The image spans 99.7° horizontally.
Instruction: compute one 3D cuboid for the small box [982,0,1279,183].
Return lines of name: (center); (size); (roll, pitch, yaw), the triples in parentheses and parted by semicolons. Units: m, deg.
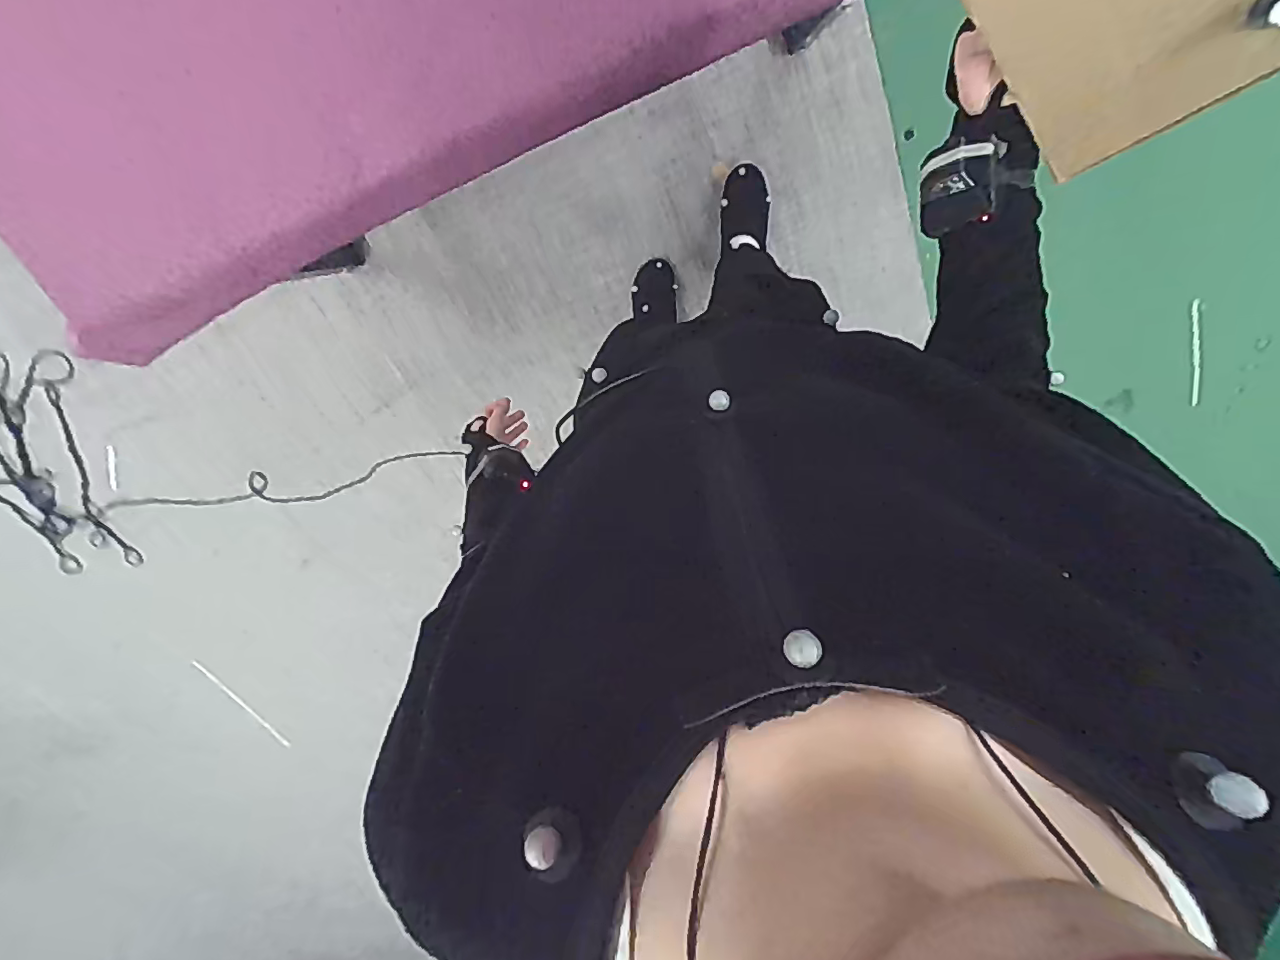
small box: (0.257, -0.291, 0.239); (0.176, 0.168, 0.179); (24, 153, -34)
